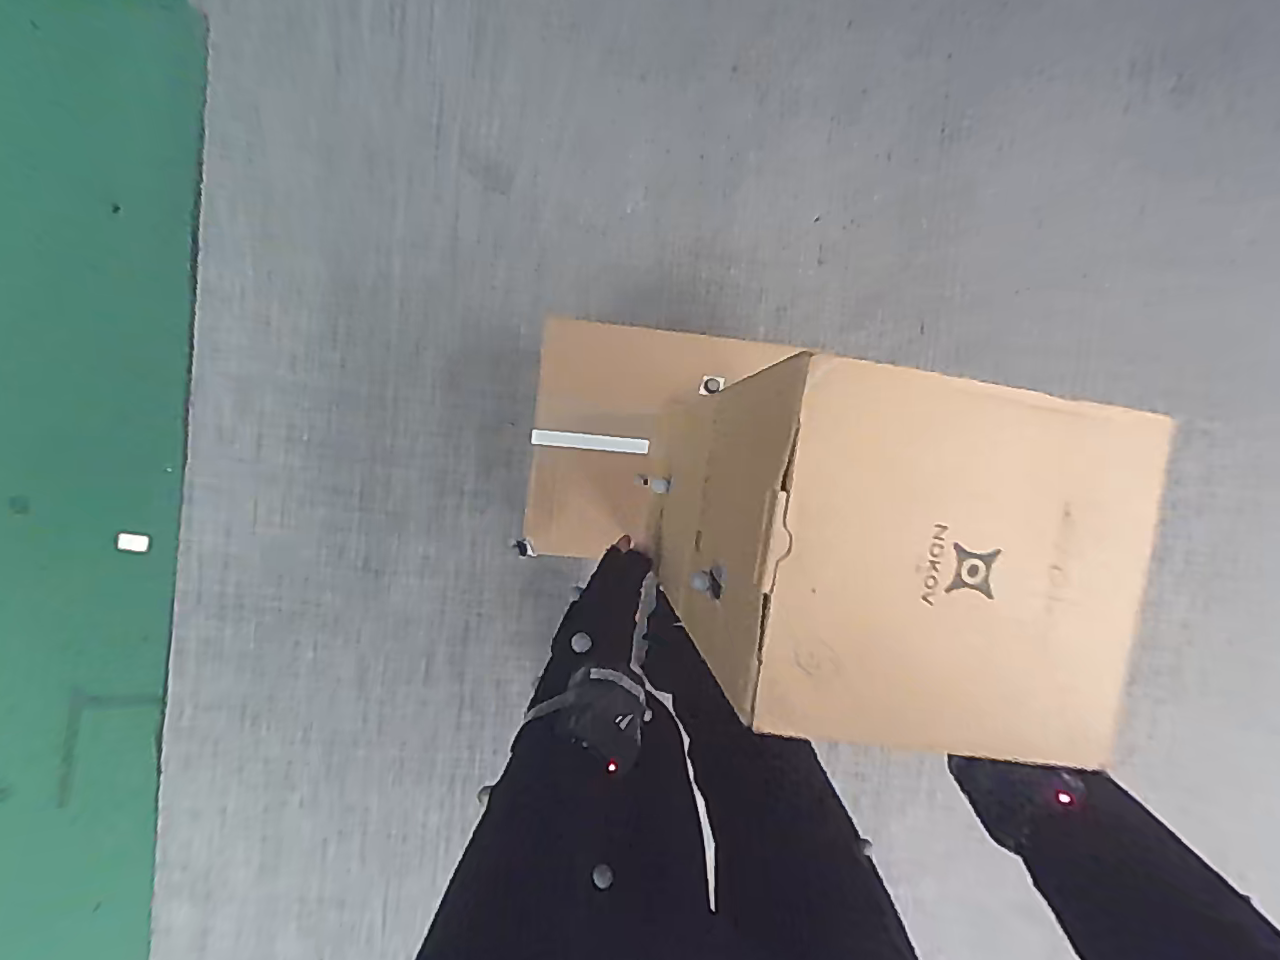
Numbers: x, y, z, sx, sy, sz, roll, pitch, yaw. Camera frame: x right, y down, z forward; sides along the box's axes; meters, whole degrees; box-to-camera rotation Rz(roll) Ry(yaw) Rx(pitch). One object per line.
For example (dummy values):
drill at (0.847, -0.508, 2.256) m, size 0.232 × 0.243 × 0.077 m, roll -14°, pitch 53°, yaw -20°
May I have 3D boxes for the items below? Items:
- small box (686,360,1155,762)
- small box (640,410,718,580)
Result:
small box at (0.131, 0.035, 0.319) m, size 0.179 × 0.176 × 0.168 m, roll 7°, pitch 93°, yaw -6°
small box at (0.094, 0.019, 0.644) m, size 0.168 × 0.176 × 0.179 m, roll 8°, pitch 92°, yaw -5°
